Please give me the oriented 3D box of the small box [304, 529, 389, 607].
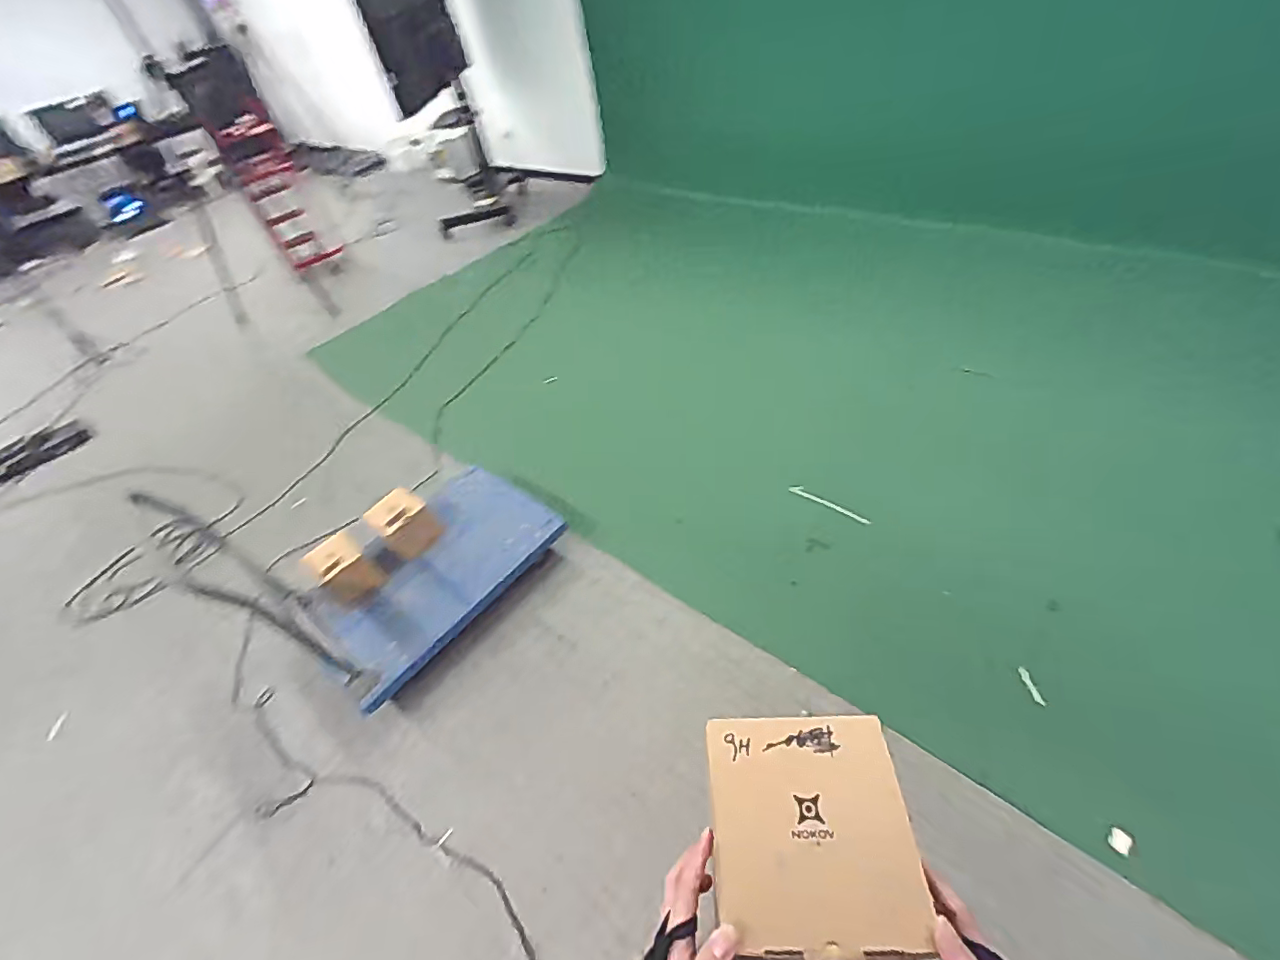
[{"bbox_3d":[-0.999,0.309,1.855,0.179,0.176,0.168,30,58,34],"label":"small box"}]
